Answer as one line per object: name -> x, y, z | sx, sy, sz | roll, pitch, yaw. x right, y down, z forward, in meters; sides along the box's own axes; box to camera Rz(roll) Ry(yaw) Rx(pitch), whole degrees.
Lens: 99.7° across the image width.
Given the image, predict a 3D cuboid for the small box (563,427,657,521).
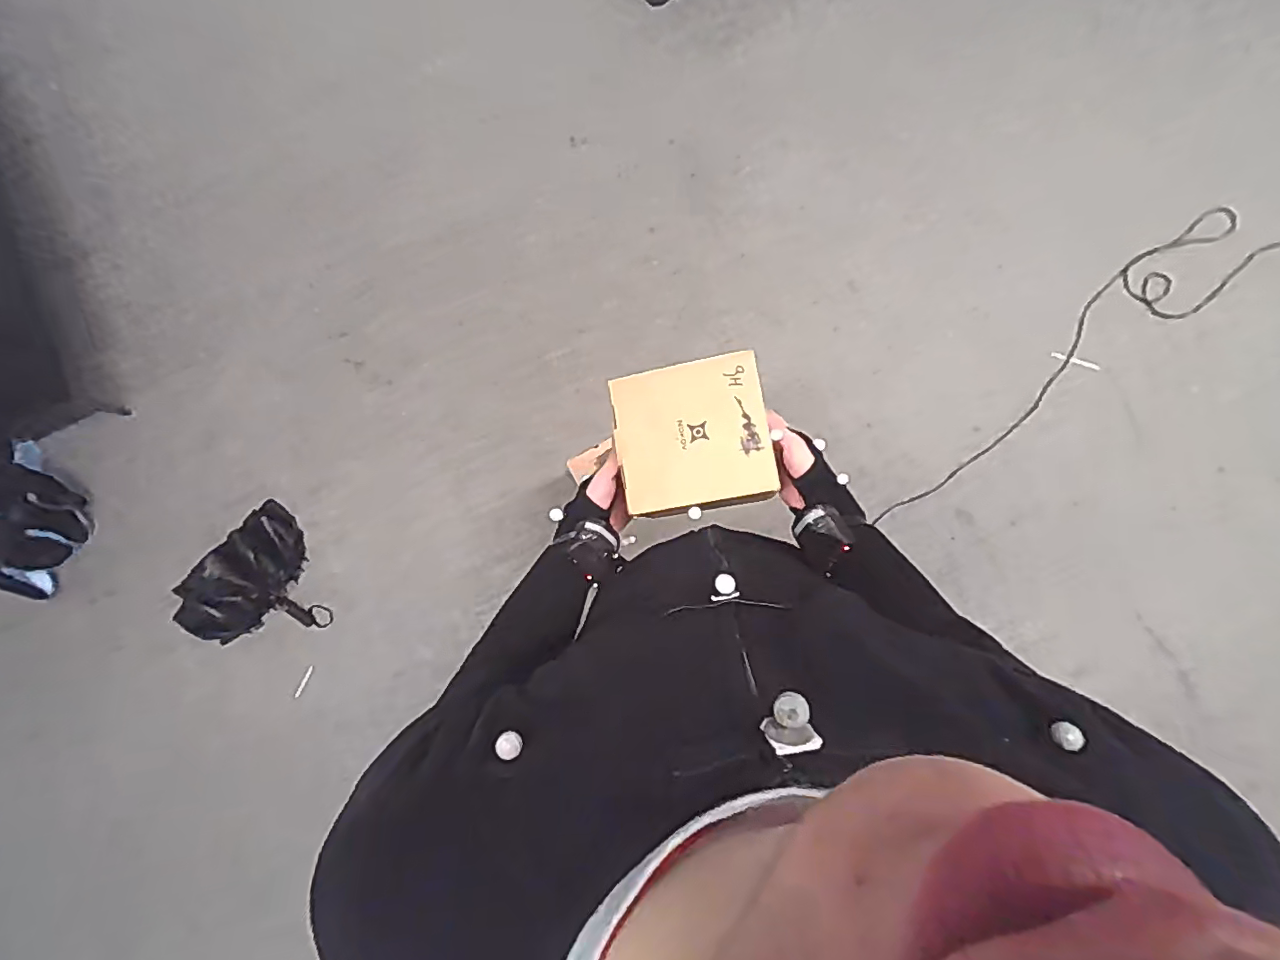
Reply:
small box -> -0.069, -0.007, 1.353 | 0.168, 0.176, 0.179 | -30, 85, 1
